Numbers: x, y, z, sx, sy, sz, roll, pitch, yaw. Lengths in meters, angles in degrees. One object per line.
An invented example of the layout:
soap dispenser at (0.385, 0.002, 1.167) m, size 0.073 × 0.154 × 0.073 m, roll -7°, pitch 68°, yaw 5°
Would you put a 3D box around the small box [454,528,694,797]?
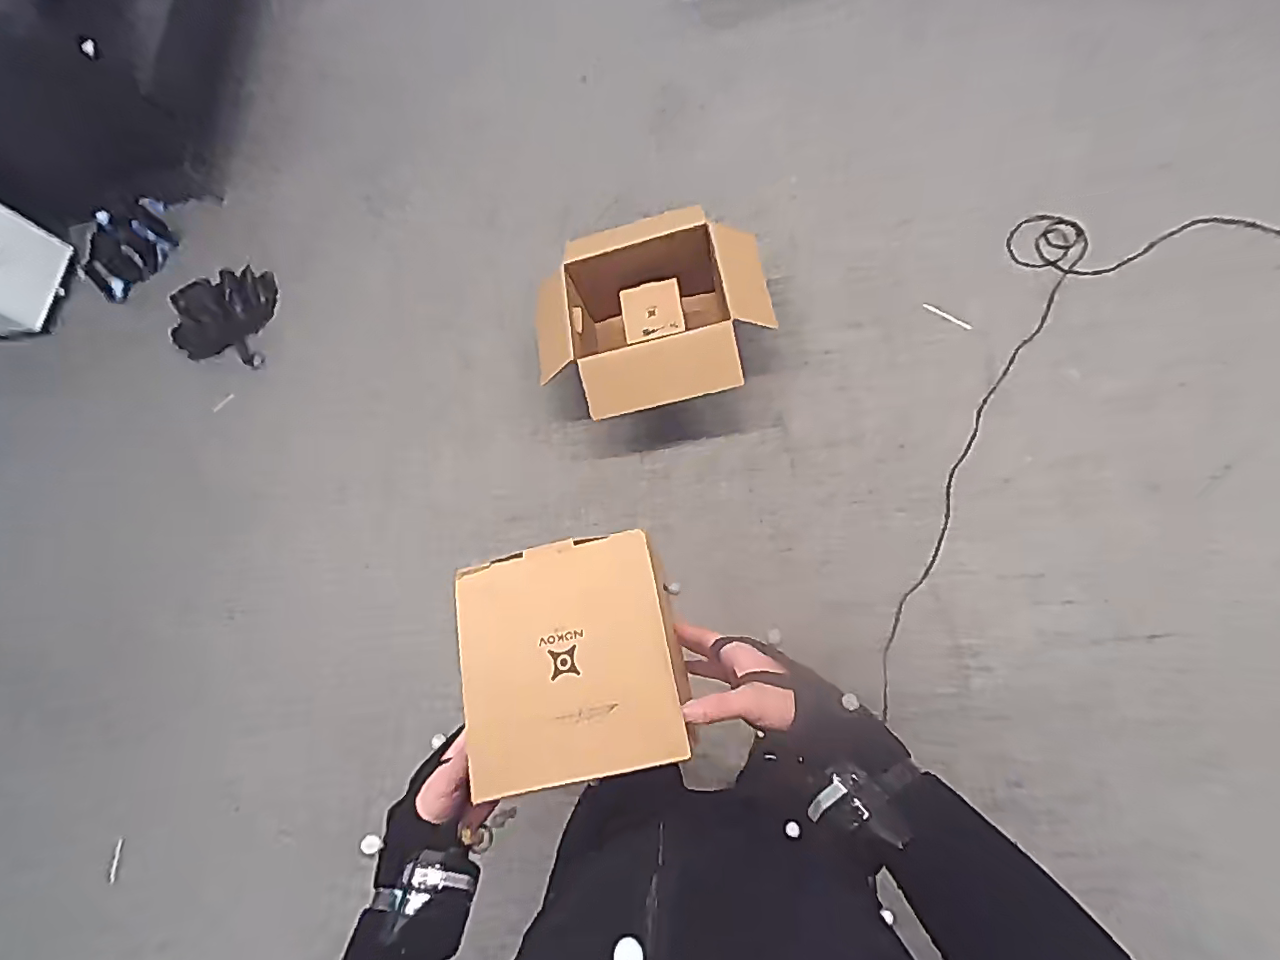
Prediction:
small box at (-0.050, 0.161, 0.491) m, size 0.168 × 0.176 × 0.179 m, roll -13°, pitch 70°, yaw 4°
